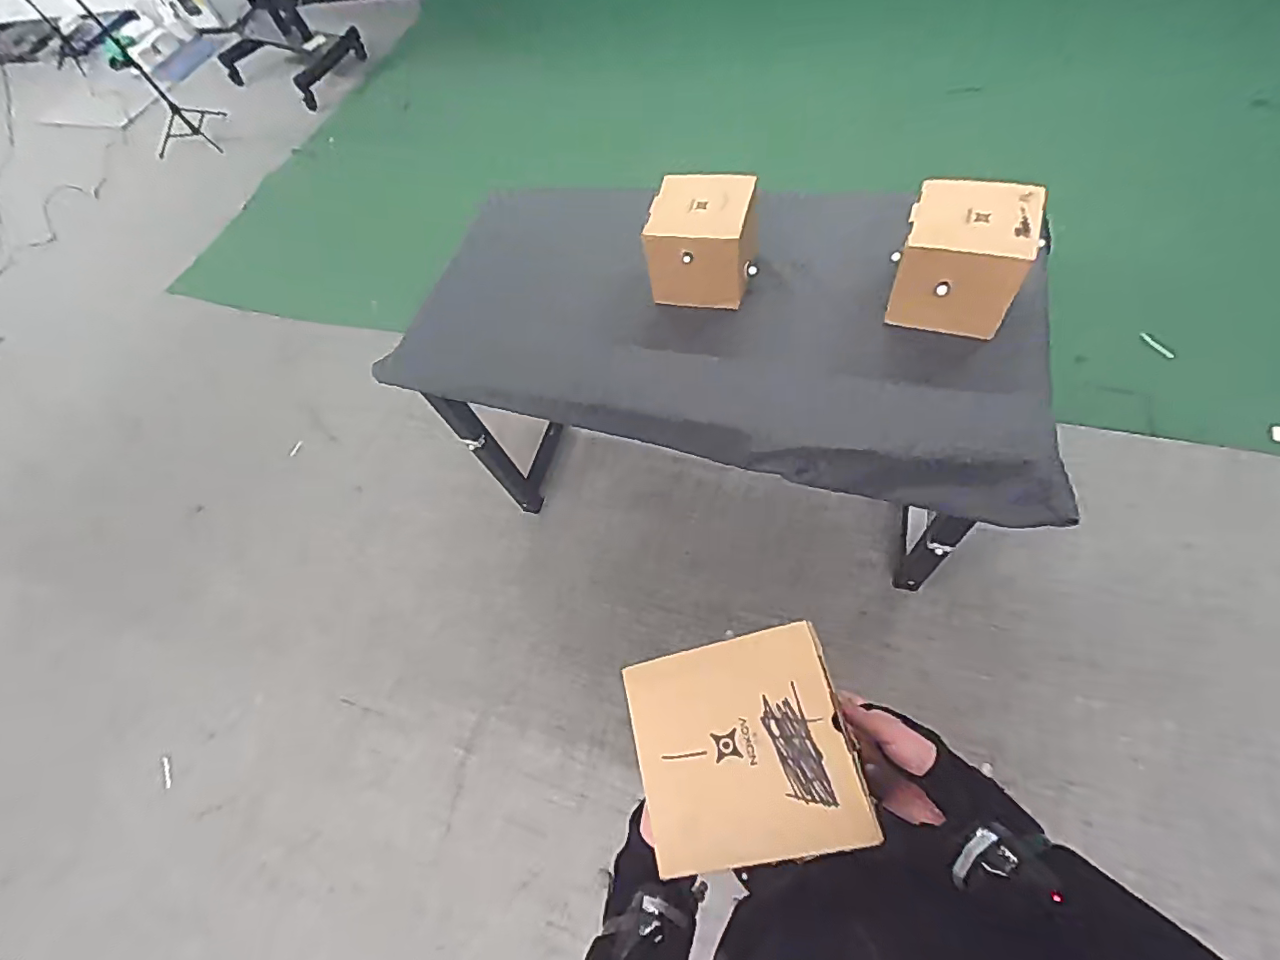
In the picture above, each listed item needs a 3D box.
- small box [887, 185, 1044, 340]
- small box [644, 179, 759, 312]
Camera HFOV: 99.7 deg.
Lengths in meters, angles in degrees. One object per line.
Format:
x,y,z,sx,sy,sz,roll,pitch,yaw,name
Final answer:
0.530,-0.357,0.900,0.179,0.176,0.168,16,67,20,small box
0.124,-0.444,1.034,0.179,0.176,0.168,11,66,15,small box
